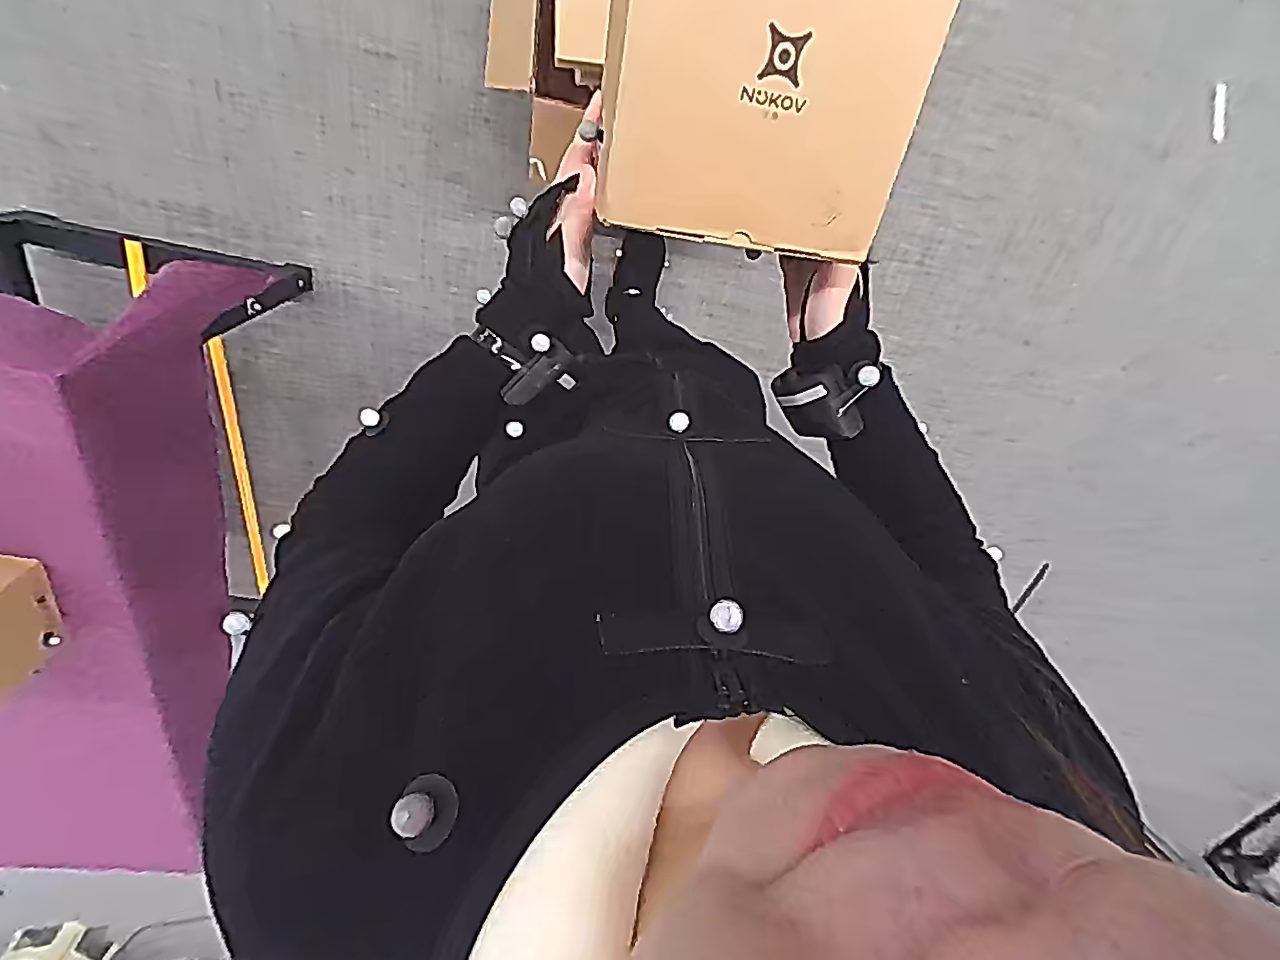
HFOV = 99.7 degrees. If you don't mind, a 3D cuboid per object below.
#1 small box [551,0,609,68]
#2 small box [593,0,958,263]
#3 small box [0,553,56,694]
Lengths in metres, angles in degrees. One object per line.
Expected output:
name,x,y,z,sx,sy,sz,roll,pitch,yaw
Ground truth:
small box,-0.008,-0.558,0.598,0.179,0.176,0.168,0,125,-10
small box,0.062,-0.258,0.342,0.168,0.176,0.179,5,122,-11
small box,-0.943,0.200,0.715,0.179,0.176,0.168,12,119,-11
